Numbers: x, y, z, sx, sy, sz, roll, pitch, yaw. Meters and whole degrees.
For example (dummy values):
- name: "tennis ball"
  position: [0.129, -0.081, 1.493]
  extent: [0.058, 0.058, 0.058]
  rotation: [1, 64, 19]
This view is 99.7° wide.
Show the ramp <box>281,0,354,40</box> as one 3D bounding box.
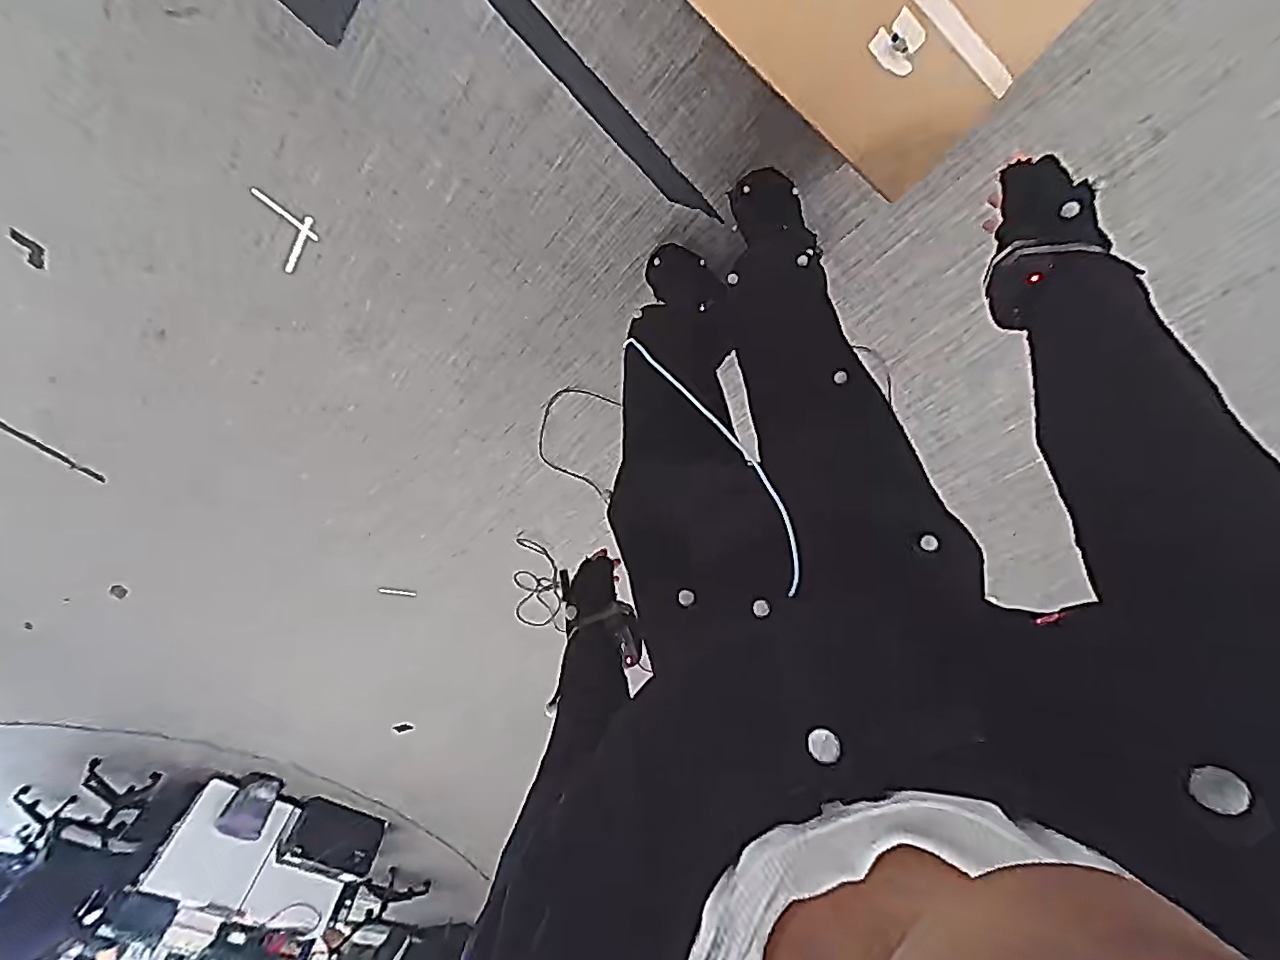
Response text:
- name: "ramp"
  position: [-0.706, -1.094, 0.535]
  extent: [0.991, 0.206, 0.509]
  rotation: [38, 124, -23]

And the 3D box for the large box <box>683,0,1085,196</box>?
- name: "large box"
  position: [0.282, -0.659, 0.691]
  extent: [0.408, 0.320, 0.320]
  rotation: [31, 128, -19]
